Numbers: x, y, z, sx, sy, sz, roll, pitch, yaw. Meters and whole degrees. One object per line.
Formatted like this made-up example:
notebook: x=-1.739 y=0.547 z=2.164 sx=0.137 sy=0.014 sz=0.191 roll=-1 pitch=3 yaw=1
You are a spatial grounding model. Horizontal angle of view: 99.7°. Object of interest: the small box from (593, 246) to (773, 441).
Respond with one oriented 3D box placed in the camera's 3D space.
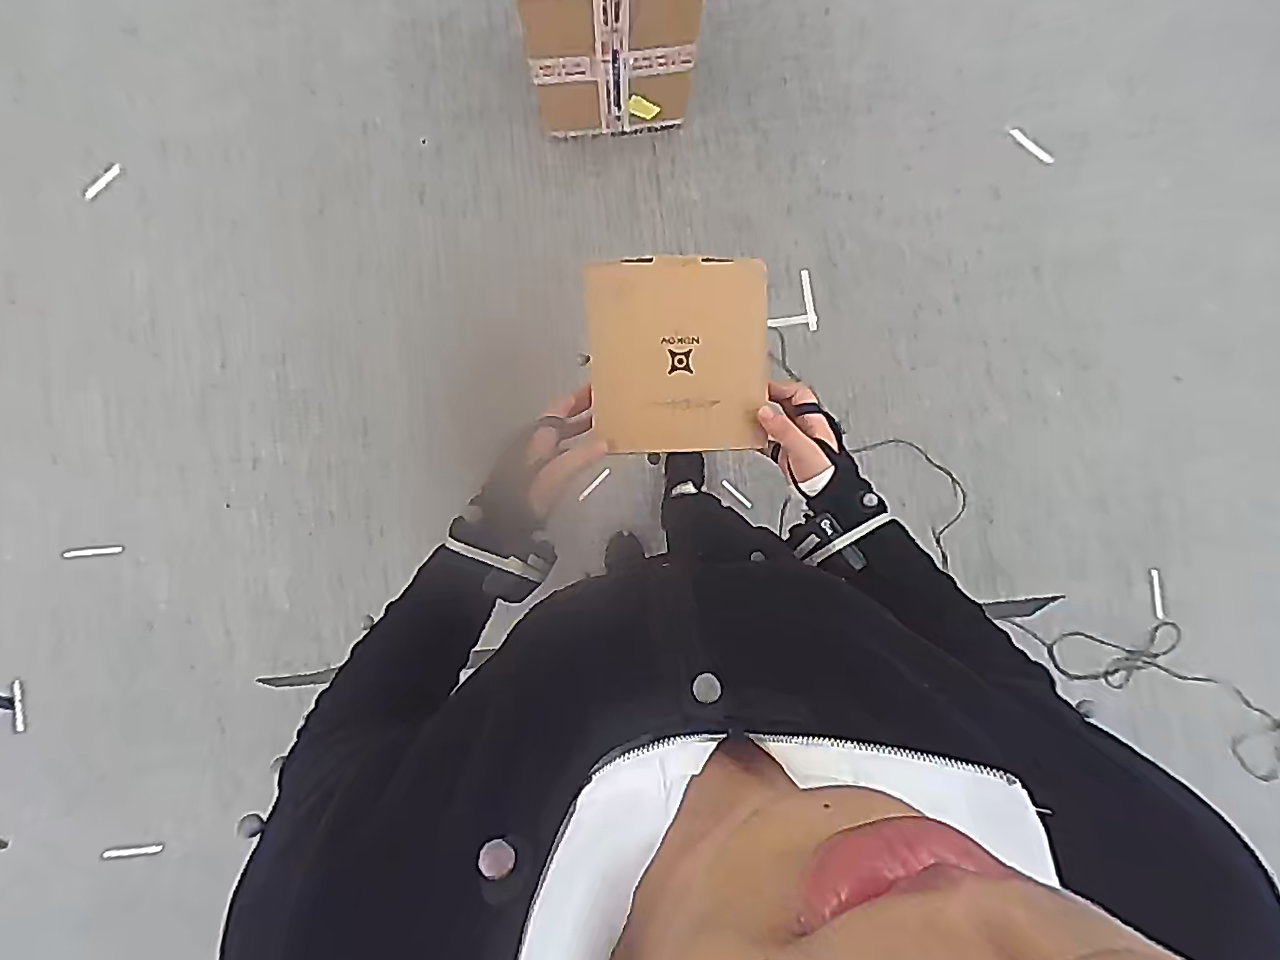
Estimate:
small box: x=0.035 y=-0.132 z=0.577 sx=0.168 sy=0.176 sz=0.179 roll=-3 pitch=96 yaw=-4
